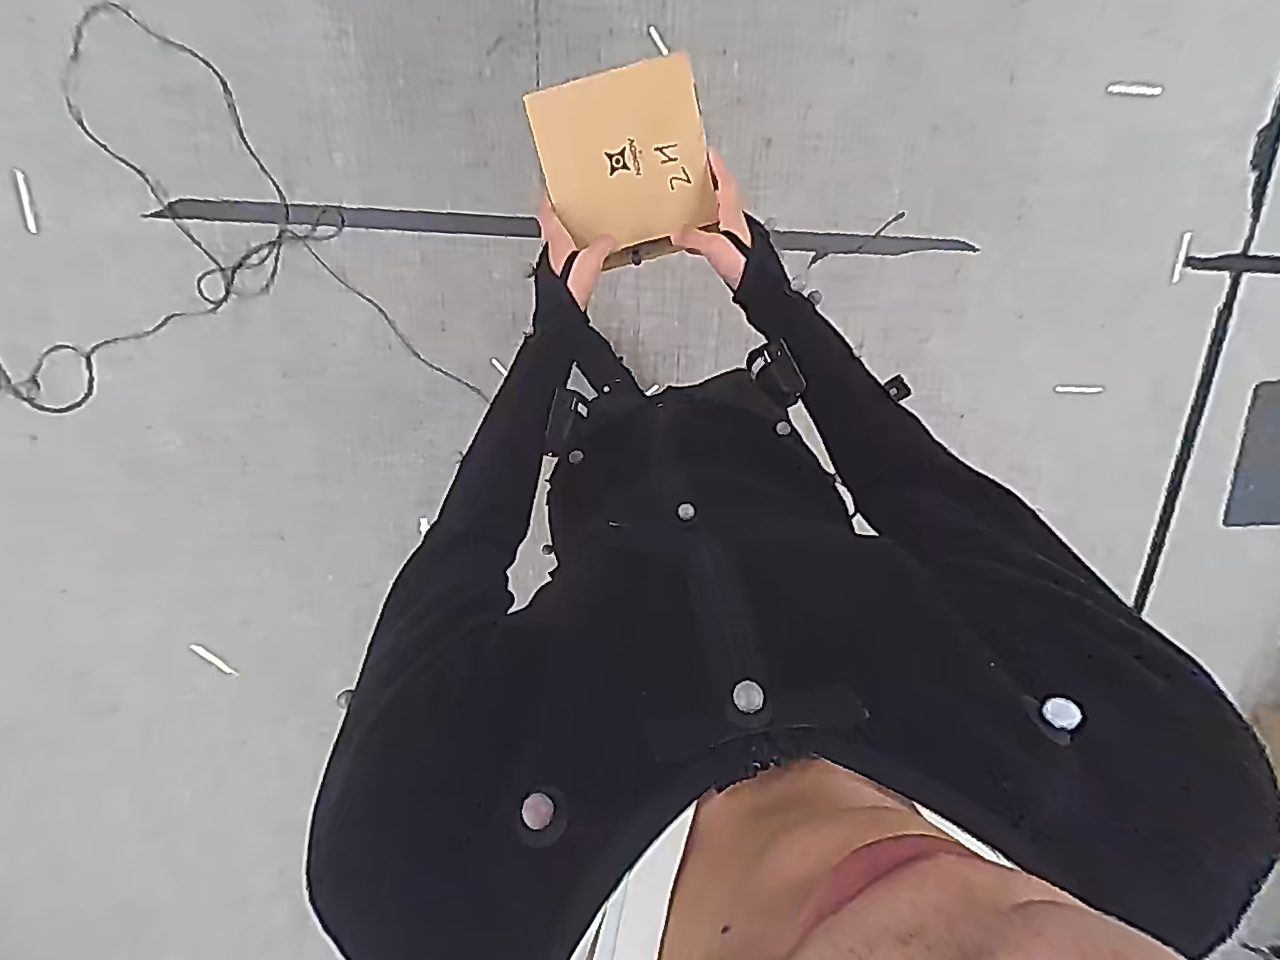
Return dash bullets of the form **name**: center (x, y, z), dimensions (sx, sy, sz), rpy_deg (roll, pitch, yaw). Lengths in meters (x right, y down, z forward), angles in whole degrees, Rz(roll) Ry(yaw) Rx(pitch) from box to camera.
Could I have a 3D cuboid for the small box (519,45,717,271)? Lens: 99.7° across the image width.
- **small box**: center (-0.021, -0.352, 0.630), dimensions (0.179, 0.176, 0.168), rpy_deg (-14, 106, 2)
